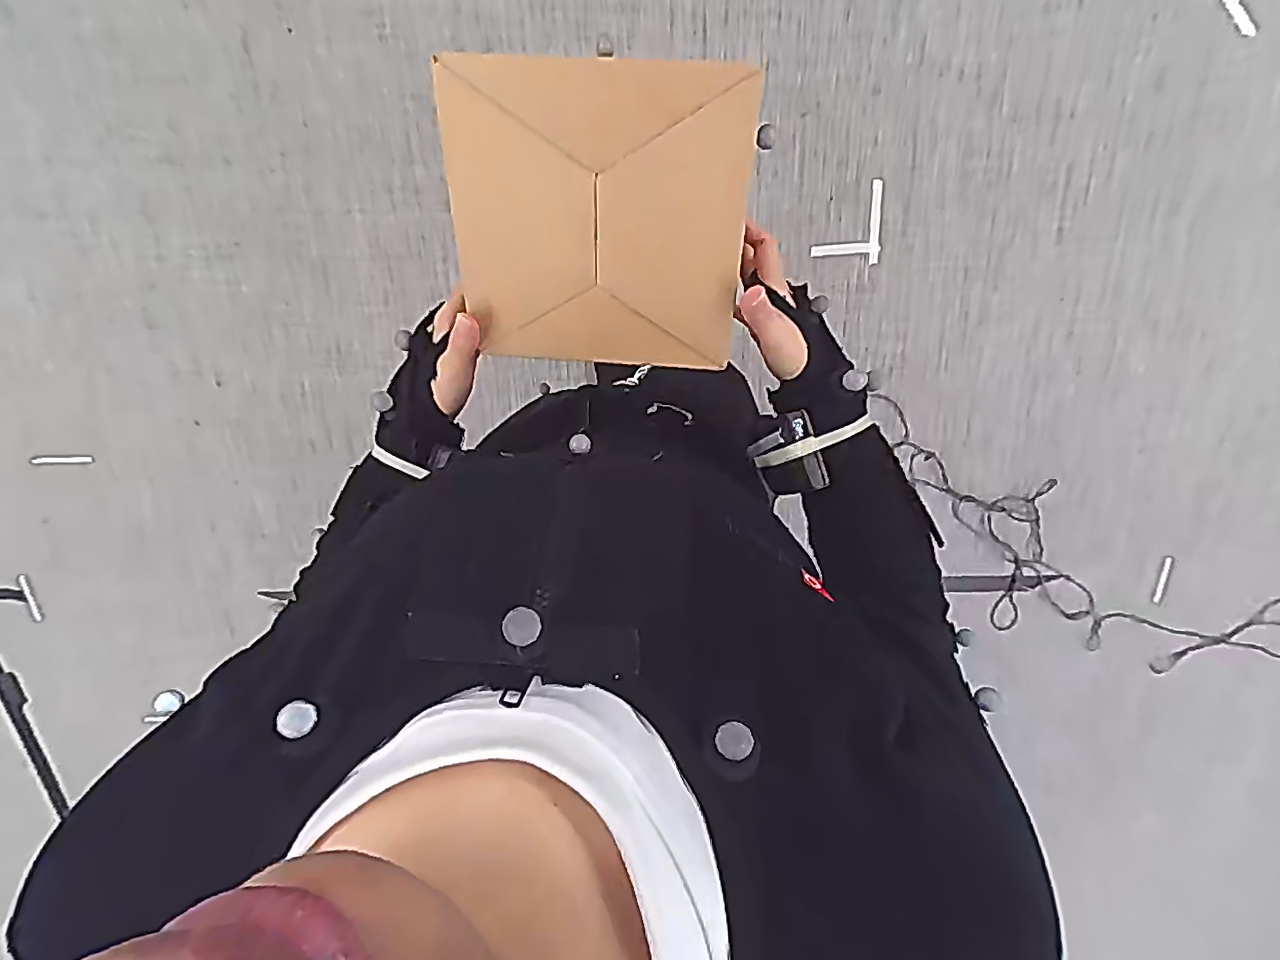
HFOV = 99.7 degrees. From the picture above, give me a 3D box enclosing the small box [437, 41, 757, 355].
[{"bbox_3d":[-0.016,-0.197,0.384,0.179,0.176,0.168,4,125,3],"label":"small box"}]
